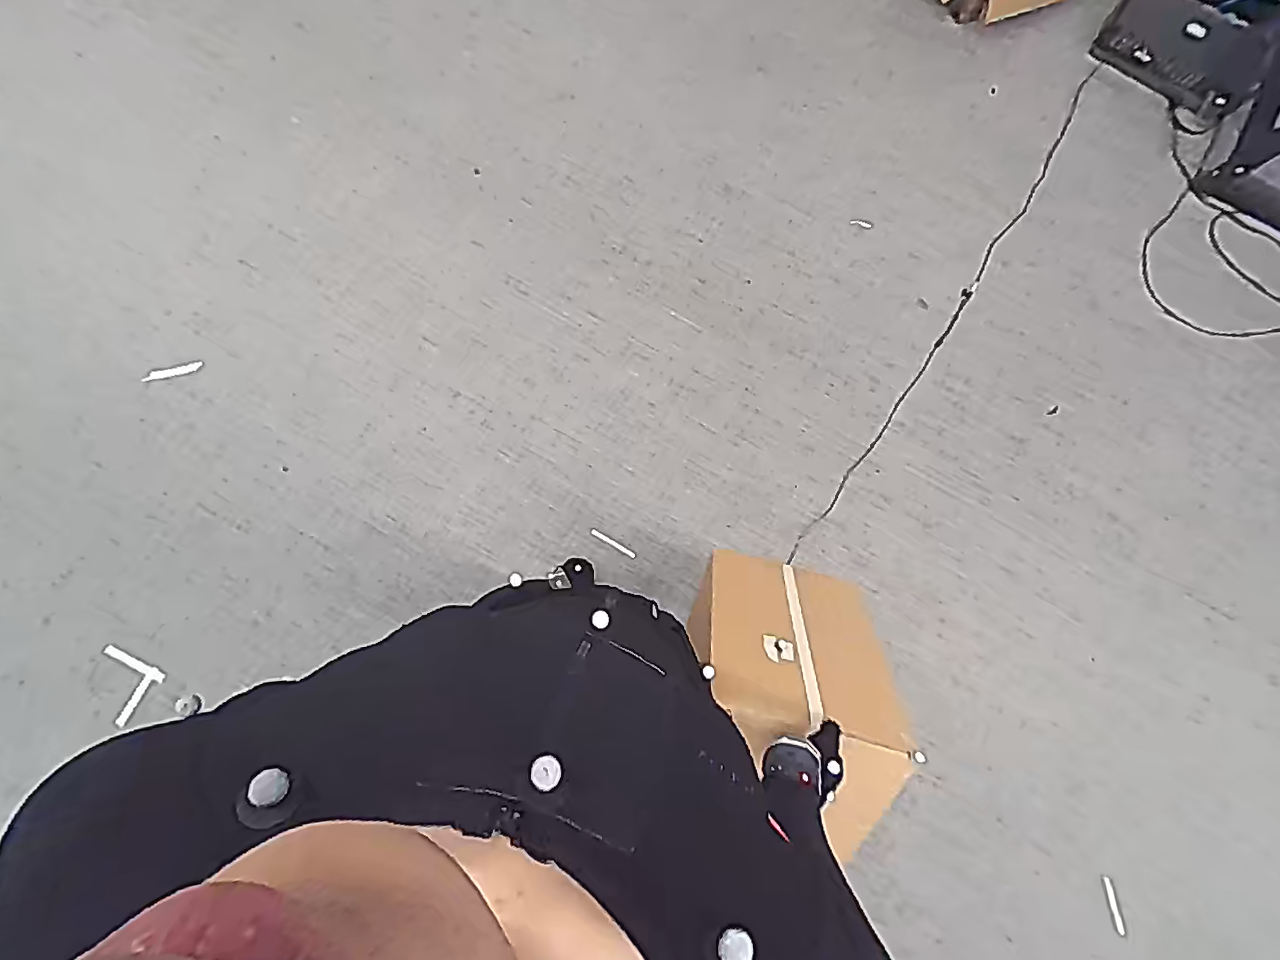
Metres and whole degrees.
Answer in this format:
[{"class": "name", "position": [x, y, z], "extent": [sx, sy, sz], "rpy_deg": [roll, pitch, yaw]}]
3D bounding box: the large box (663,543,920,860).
[{"class": "large box", "position": [0.242, 0.385, 1.012], "extent": [0.320, 0.408, 0.320], "rpy_deg": [15, 117, 1]}]
